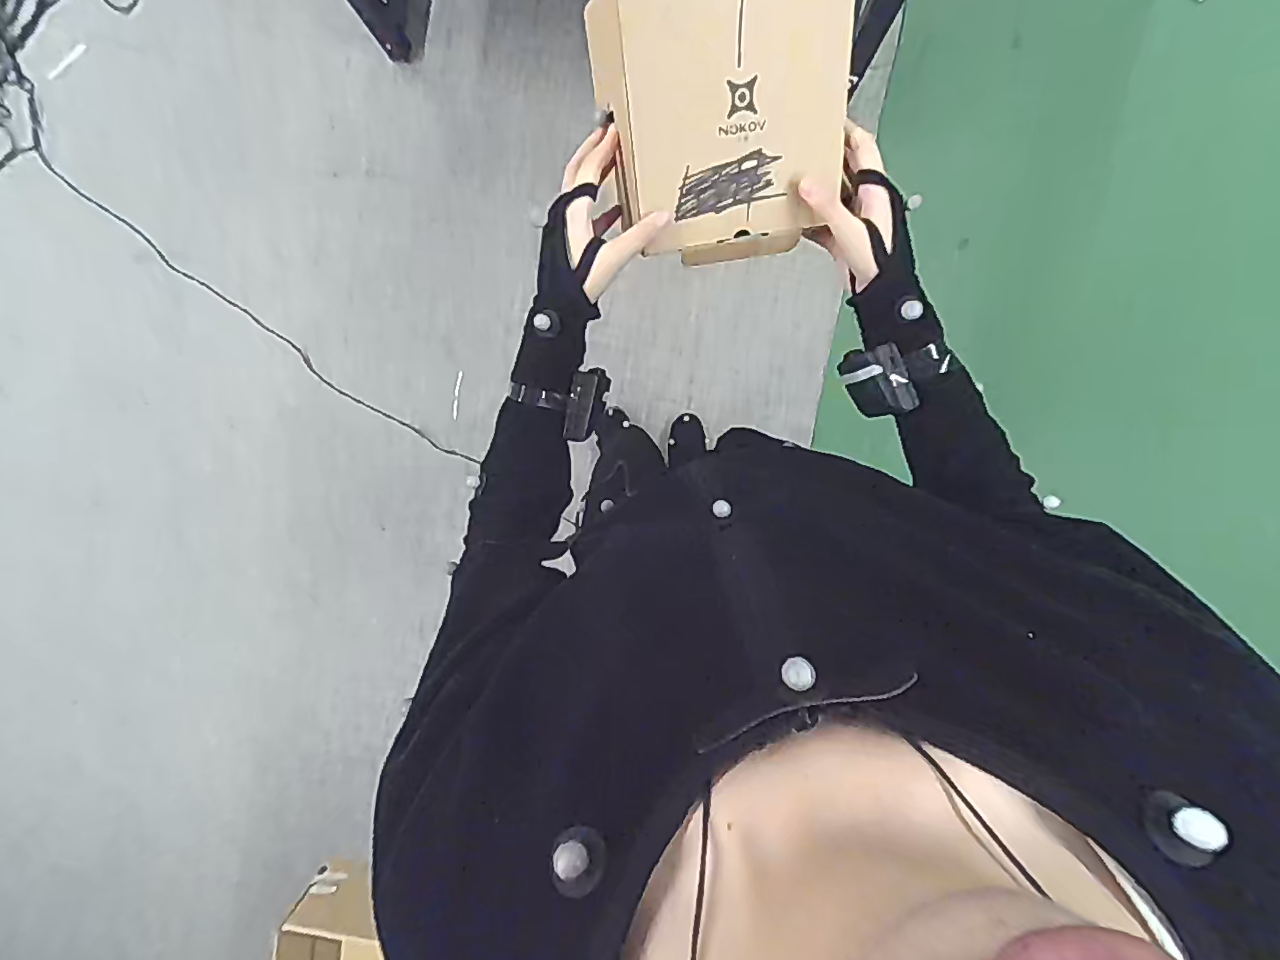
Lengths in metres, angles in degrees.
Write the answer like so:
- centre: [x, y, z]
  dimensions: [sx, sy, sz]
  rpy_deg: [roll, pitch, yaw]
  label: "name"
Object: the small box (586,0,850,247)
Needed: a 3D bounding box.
- centre: [0.054, -0.314, 0.456]
  dimensions: [0.168, 0.176, 0.179]
  rpy_deg: [-12, 123, -6]
  label: "small box"
